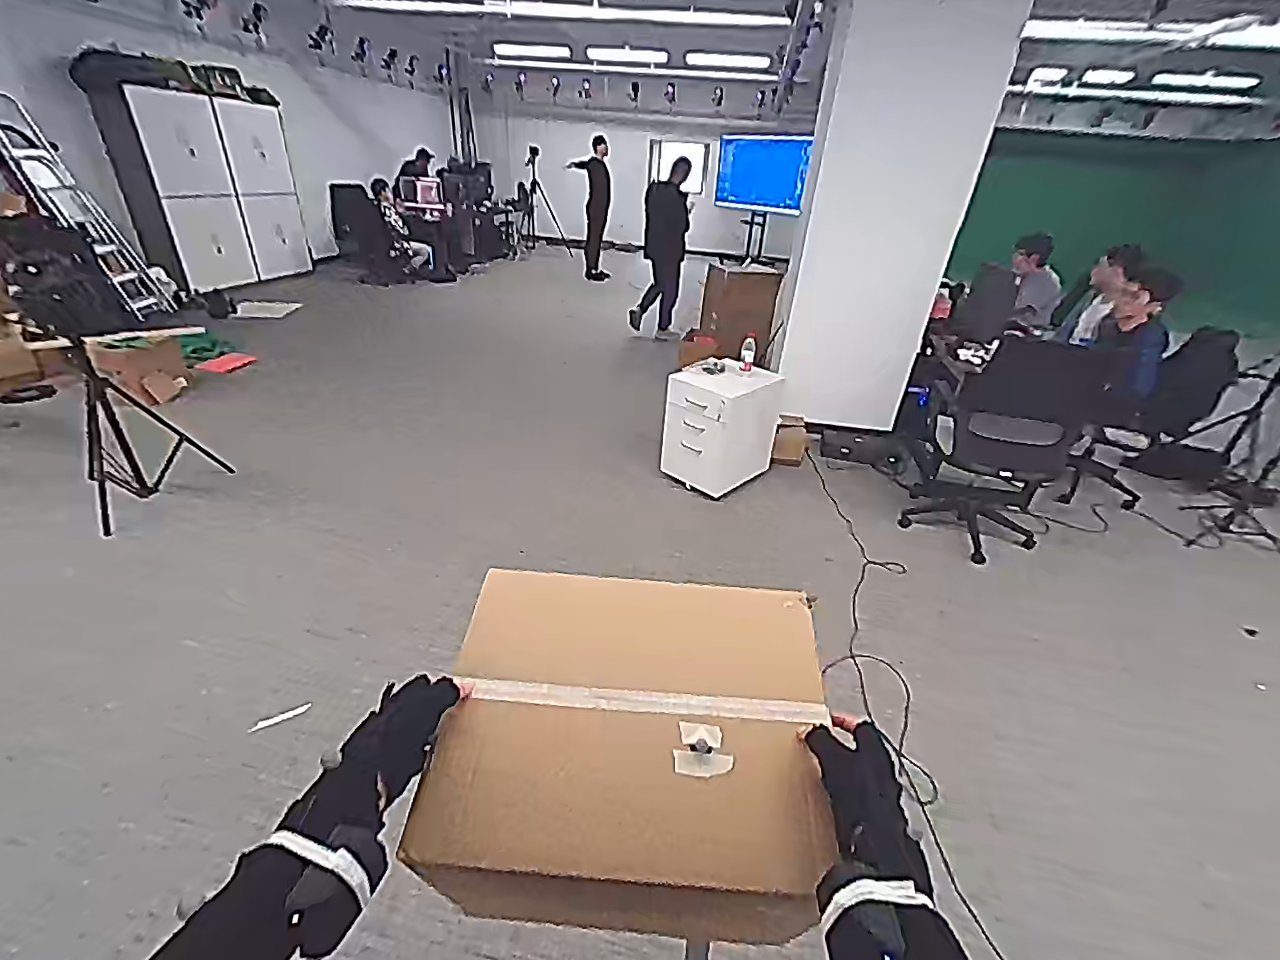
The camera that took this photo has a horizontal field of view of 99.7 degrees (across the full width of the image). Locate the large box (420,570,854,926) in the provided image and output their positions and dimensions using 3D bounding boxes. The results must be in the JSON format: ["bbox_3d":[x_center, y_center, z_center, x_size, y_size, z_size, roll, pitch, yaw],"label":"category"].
[{"bbox_3d":[-0.003,0.342,0.694,0.408,0.320,0.320,5,45,1],"label":"large box"}]
